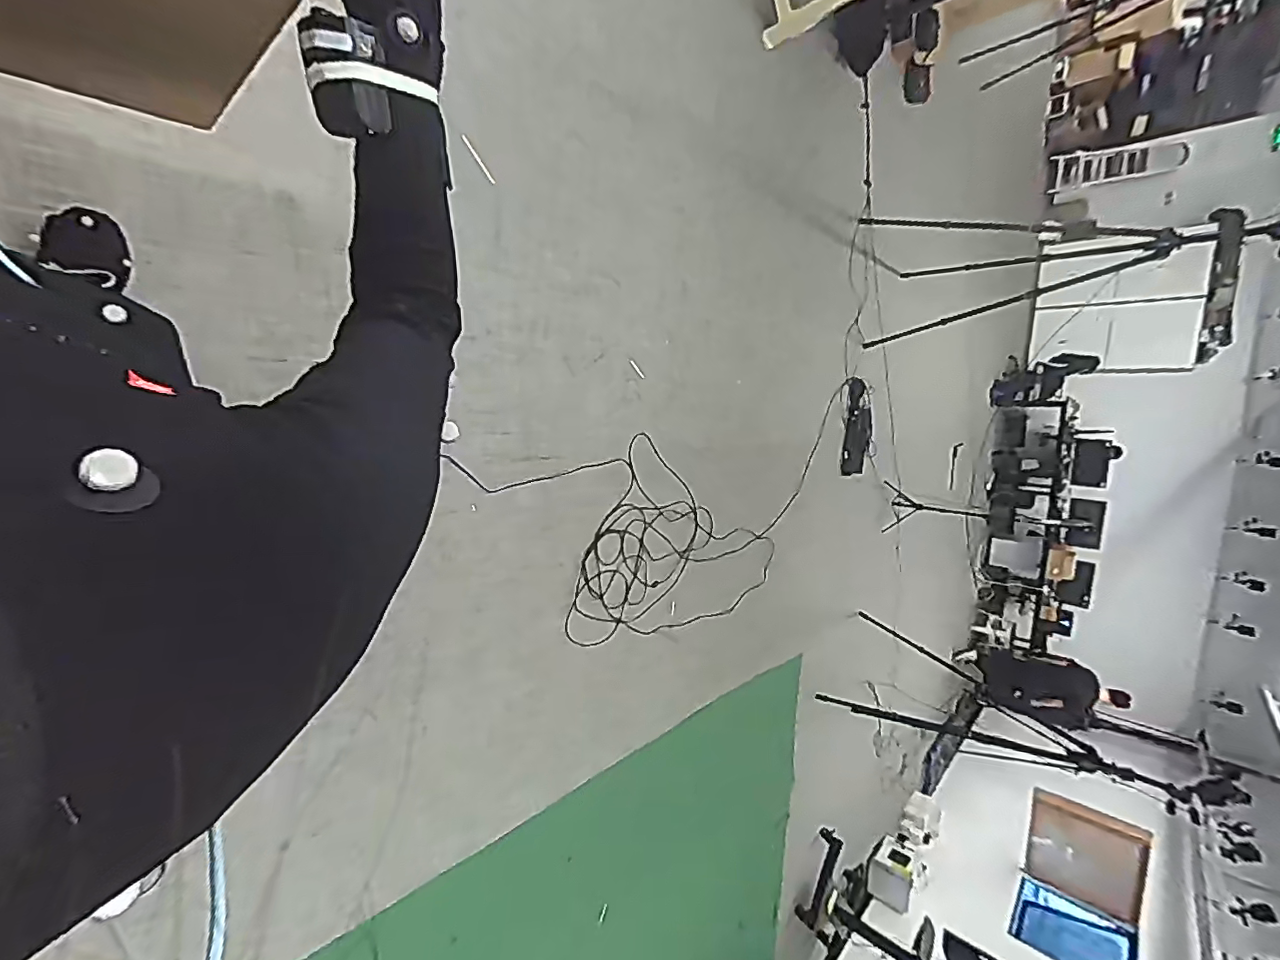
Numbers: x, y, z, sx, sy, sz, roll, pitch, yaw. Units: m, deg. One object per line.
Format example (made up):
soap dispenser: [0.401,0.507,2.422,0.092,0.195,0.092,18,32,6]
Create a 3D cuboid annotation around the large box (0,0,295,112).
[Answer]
large box: [-0.442,-0.459,0.264,0.408,0.320,0.320,-11,107,-47]
